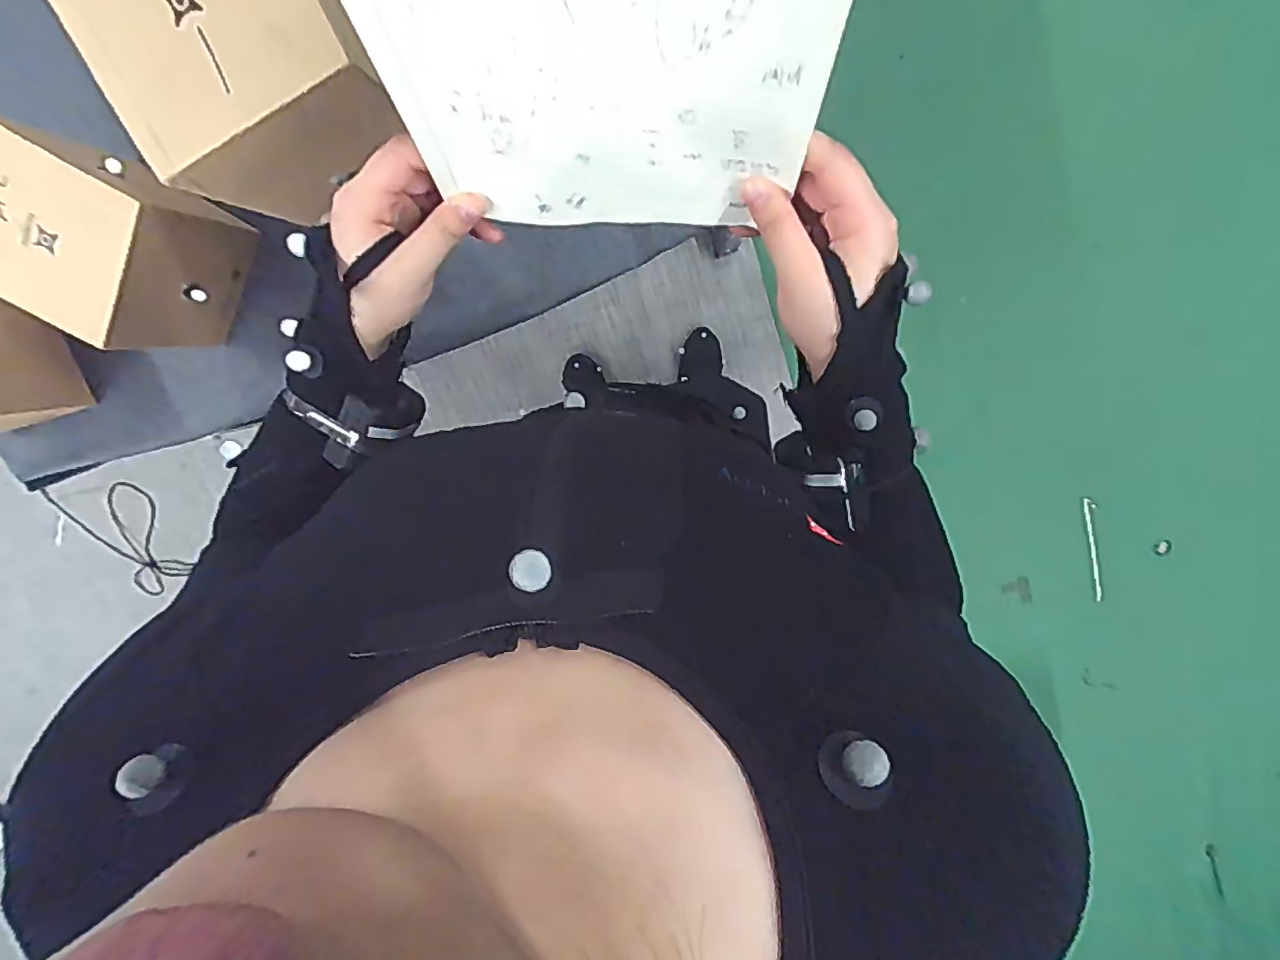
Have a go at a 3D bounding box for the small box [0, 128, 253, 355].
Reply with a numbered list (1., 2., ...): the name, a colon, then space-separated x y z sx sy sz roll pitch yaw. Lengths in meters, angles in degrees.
1. small box: -0.603 -0.263 0.626 0.179 0.176 0.168 29 104 -4

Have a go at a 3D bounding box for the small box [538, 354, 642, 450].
1. small box: -0.120 -0.193 1.354 0.176 0.168 0.179 29 80 -34

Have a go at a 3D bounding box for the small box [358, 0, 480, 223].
1. small box: -0.284 -0.384 0.574 0.179 0.176 0.168 10 106 2

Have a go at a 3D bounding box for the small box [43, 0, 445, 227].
1. small box: -0.288 -0.327 0.419 0.168 0.176 0.179 -23 103 10

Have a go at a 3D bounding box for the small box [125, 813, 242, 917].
1. small box: -1.223 1.039 1.468 0.179 0.176 0.168 2 105 1
